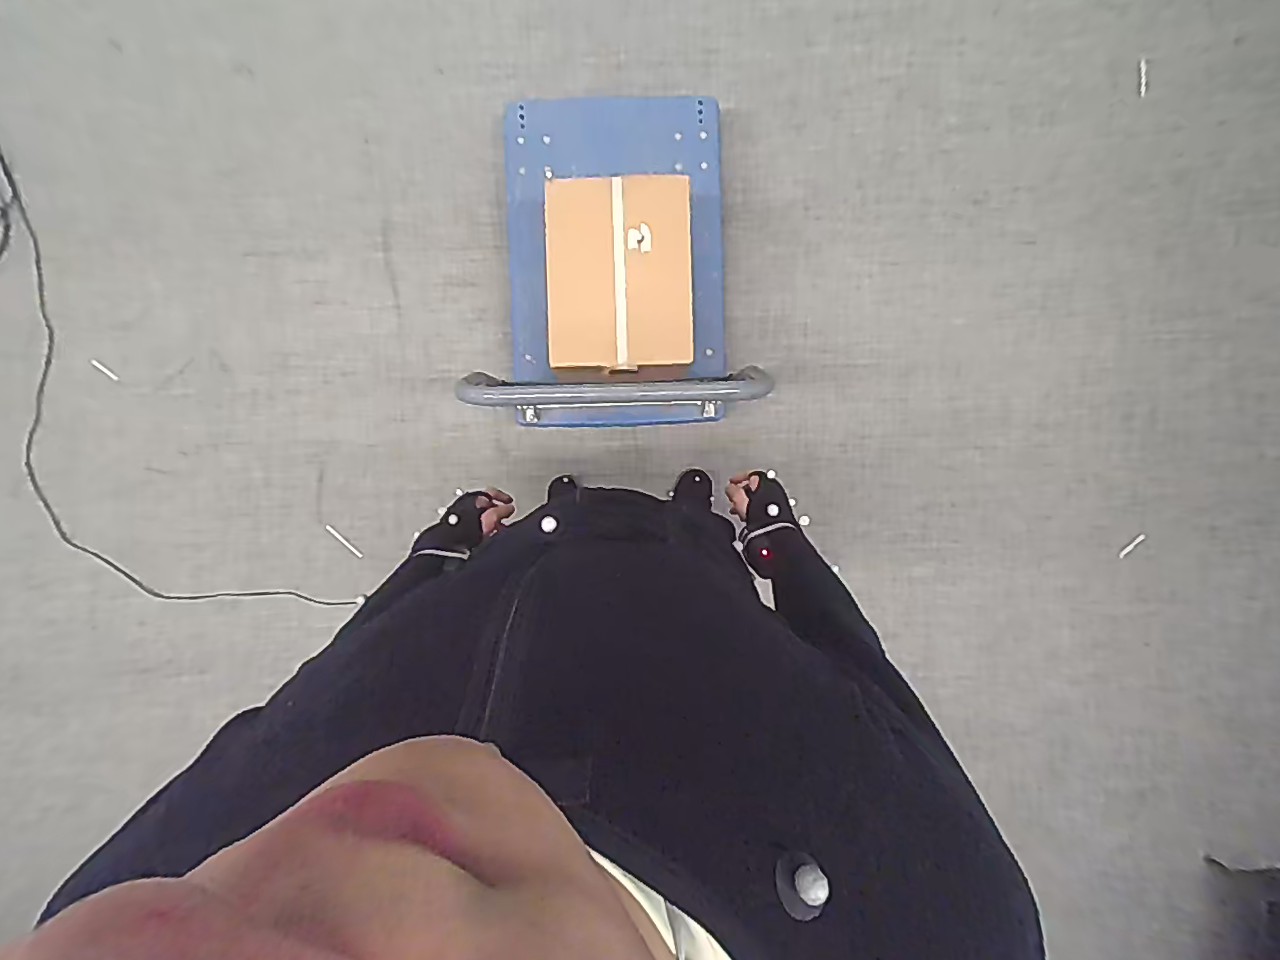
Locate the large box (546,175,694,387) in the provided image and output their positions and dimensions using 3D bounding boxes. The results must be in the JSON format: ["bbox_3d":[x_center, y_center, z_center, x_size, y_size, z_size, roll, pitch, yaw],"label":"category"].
[{"bbox_3d":[-0.043,-0.453,1.310,0.320,0.320,0.408,-1,91,-1],"label":"large box"}]
